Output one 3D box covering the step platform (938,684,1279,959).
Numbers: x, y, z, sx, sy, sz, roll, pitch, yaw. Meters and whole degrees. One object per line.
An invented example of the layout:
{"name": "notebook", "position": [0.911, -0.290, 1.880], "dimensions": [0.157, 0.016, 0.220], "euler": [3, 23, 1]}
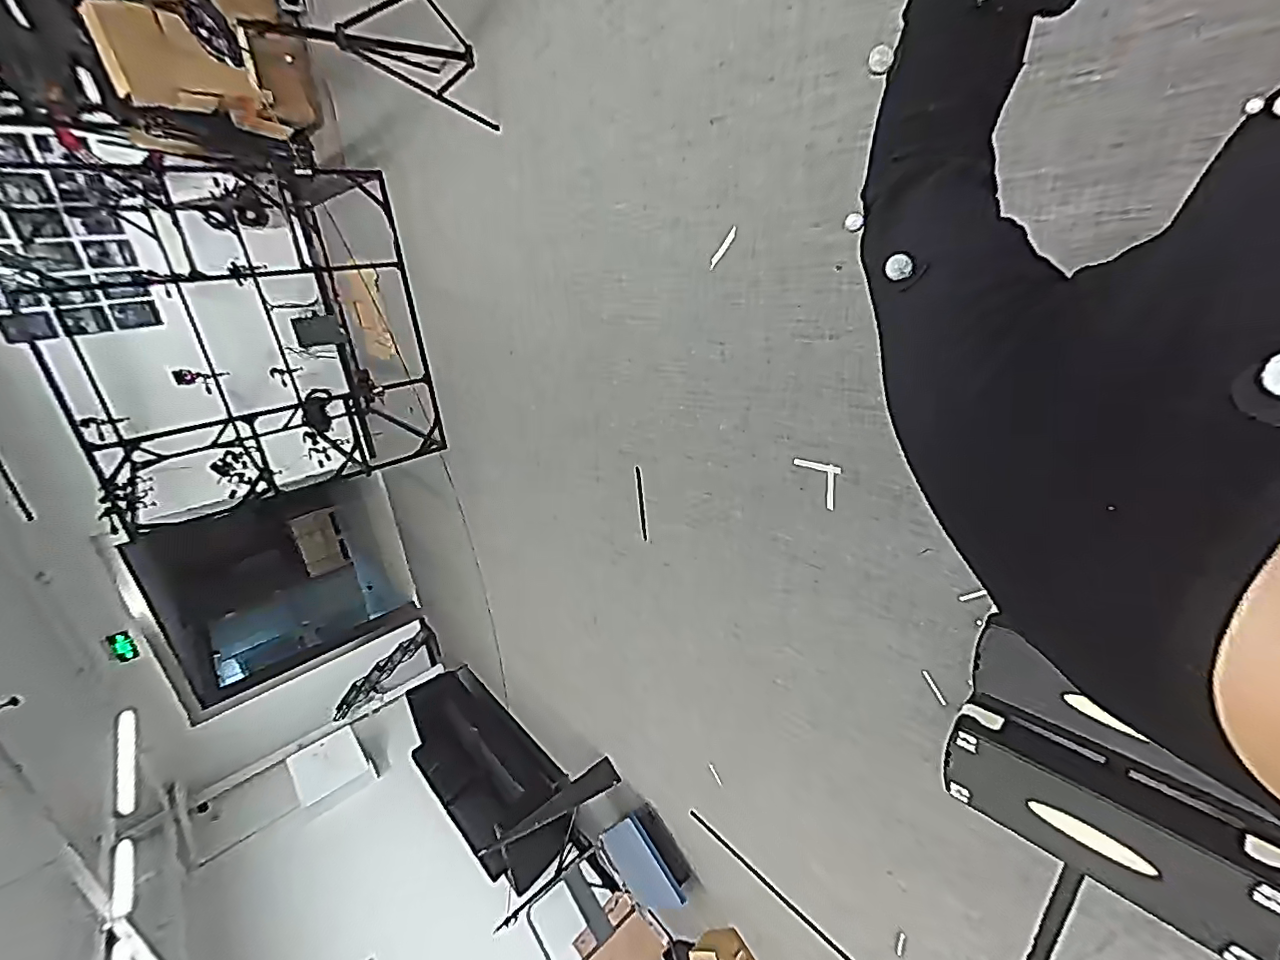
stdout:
{"name": "step platform", "position": [1.152, 0.826, 1.386], "dimensions": [0.684, 0.204, 0.286], "euler": [18, 122, 48]}
